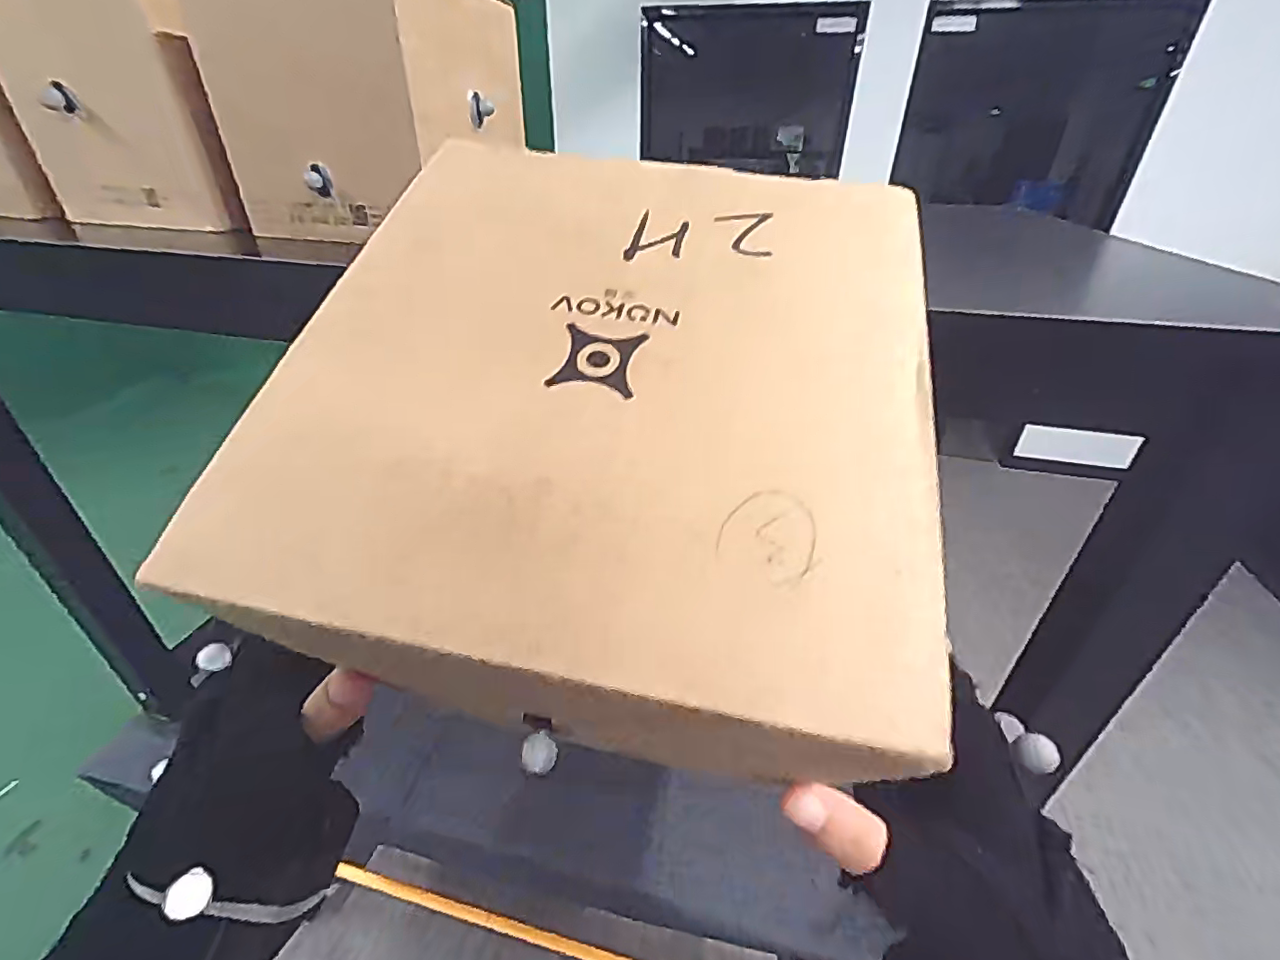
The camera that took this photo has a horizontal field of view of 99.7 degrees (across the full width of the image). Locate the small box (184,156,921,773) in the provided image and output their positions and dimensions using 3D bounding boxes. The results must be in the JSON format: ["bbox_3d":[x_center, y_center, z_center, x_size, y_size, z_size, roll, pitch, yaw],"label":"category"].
[{"bbox_3d":[-0.006,0.006,0.221,0.168,0.176,0.179,10,61,6],"label":"small box"}]

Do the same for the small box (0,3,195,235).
[{"bbox_3d":[-0.591,-0.348,0.530,0.168,0.176,0.179,8,34,10],"label":"small box"}]
